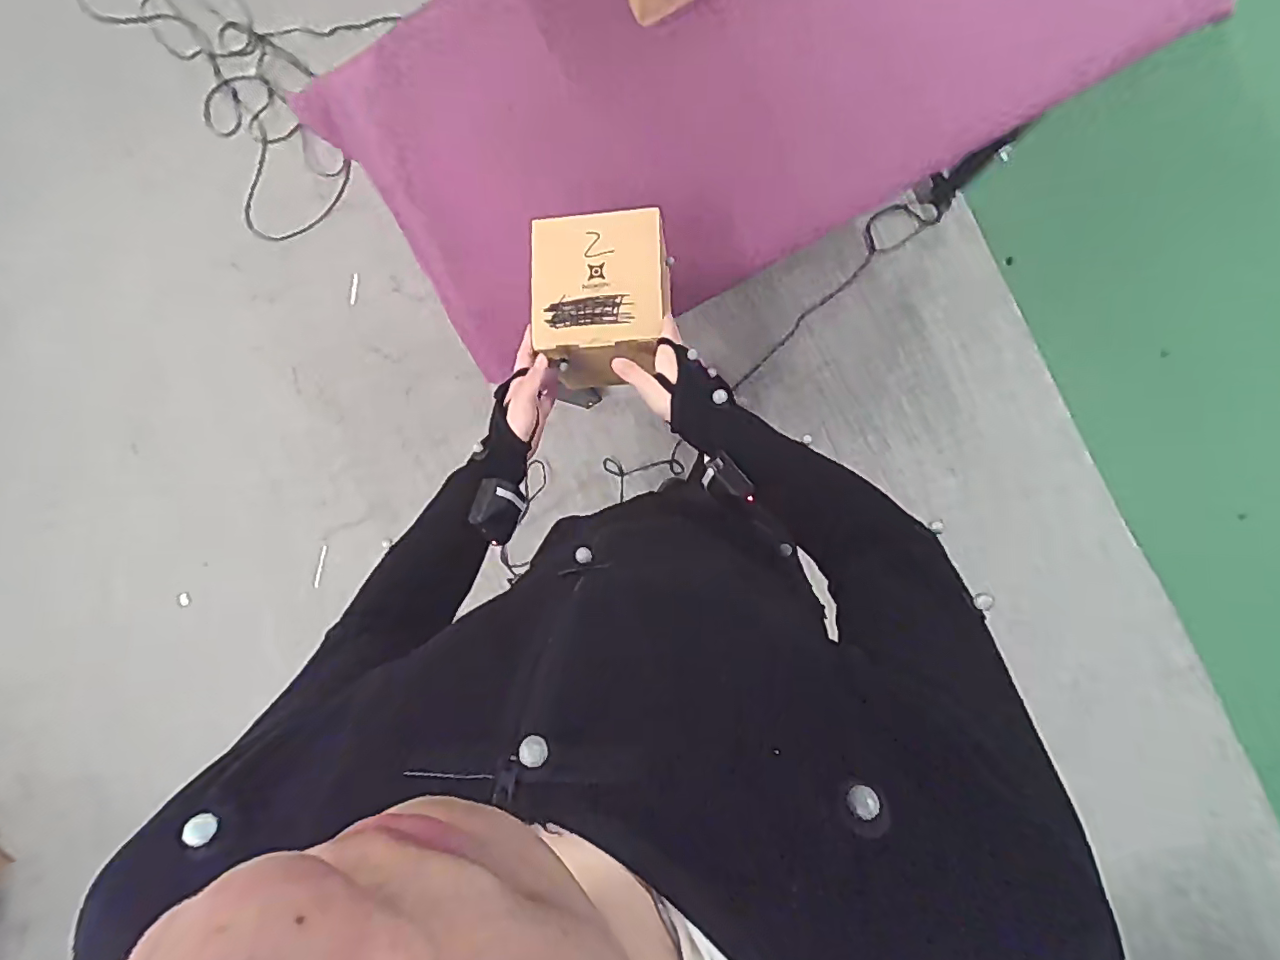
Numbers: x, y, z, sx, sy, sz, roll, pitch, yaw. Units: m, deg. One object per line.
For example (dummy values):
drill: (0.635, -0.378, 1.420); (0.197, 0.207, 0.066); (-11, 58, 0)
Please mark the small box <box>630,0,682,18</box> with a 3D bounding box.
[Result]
small box: (0.030, -0.809, 0.742); (0.168, 0.176, 0.179); (-27, 93, 6)
